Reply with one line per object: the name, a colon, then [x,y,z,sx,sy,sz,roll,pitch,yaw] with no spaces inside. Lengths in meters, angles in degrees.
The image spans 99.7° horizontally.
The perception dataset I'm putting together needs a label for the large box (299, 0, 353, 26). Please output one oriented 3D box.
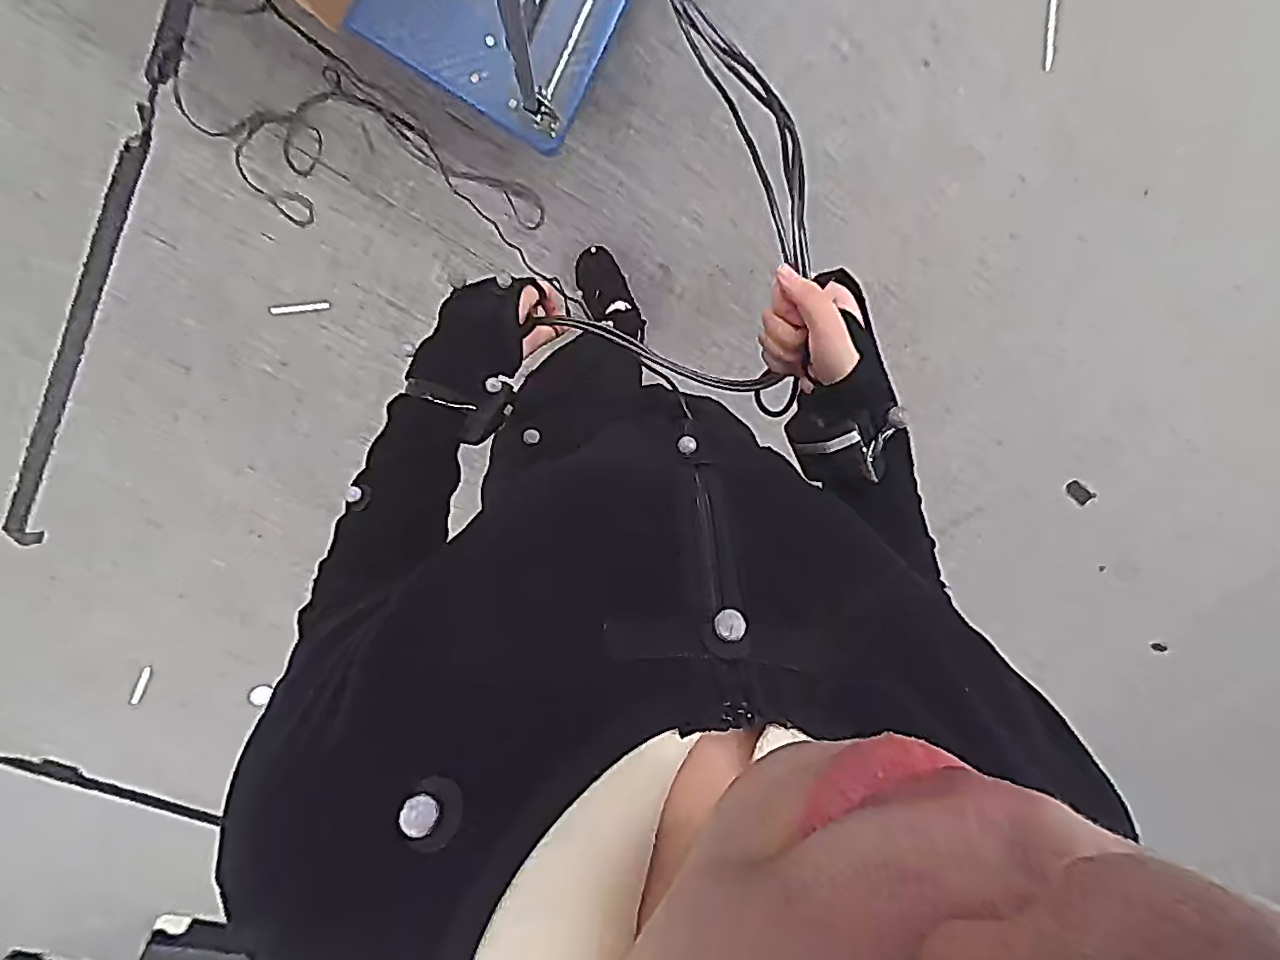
large box: [-0.613,-0.989,0.764,0.408,0.320,0.320,33,103,-14]
